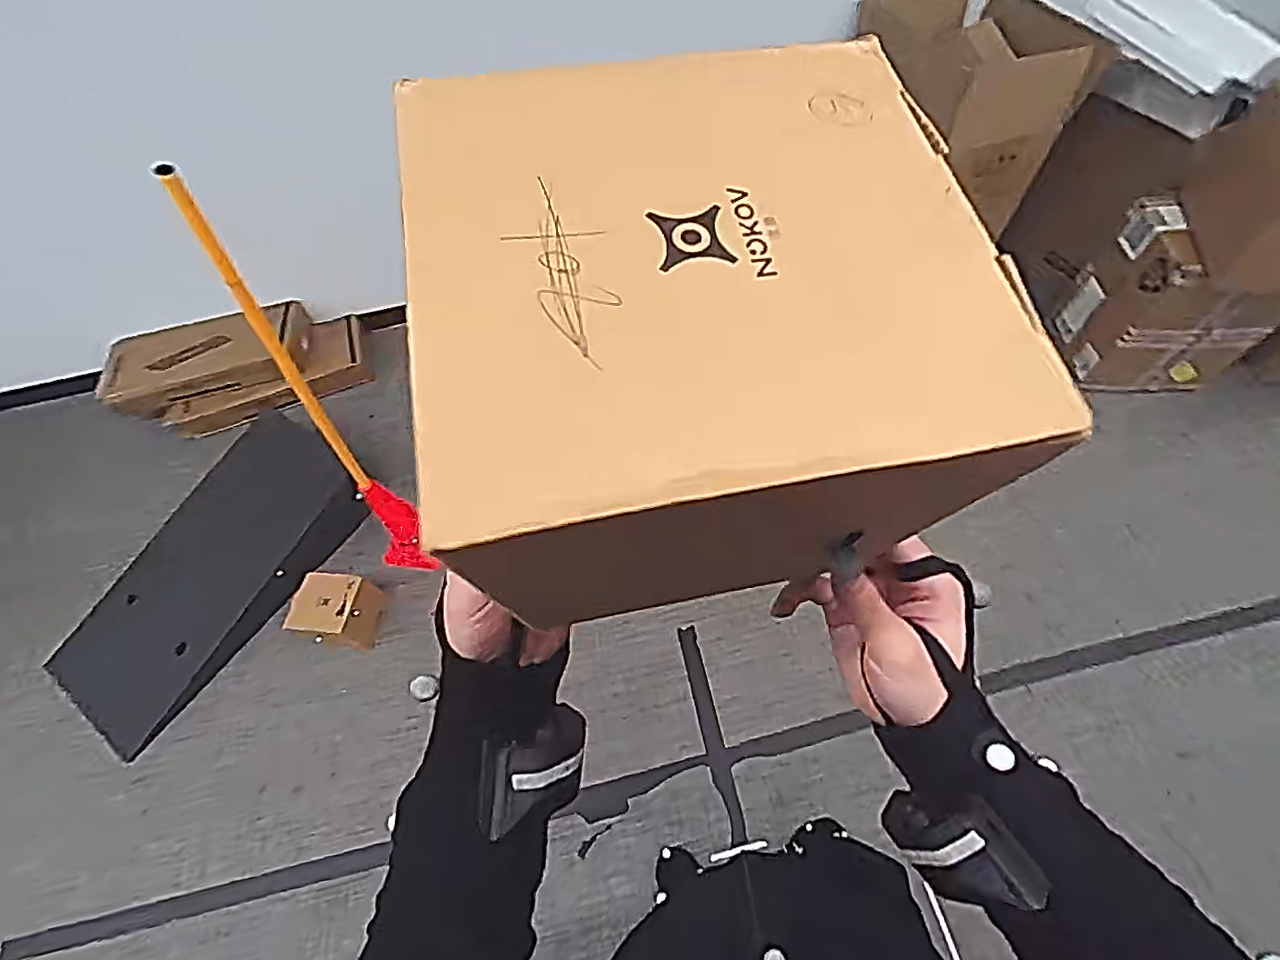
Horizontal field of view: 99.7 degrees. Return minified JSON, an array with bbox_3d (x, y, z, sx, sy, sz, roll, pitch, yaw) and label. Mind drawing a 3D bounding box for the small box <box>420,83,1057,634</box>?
[{"bbox_3d":[0.019,-0.035,0.249,0.179,0.176,0.168,-11,68,-5],"label":"small box"}]
